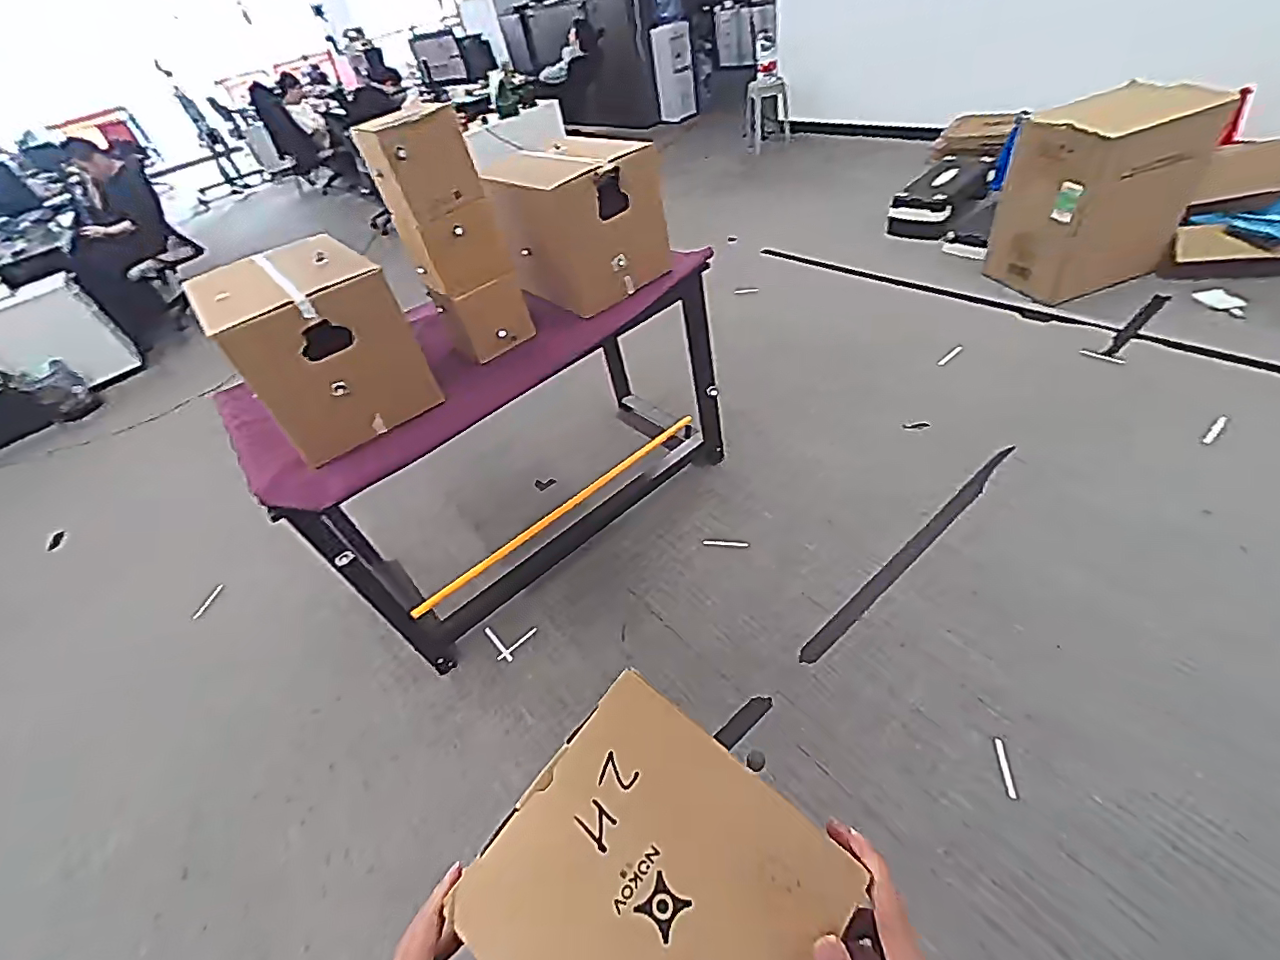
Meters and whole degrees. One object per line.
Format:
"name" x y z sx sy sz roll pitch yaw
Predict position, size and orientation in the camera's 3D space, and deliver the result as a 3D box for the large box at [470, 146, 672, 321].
"large box" -0.177 -0.670 1.449 0.320 0.320 0.408 -37 46 -22
